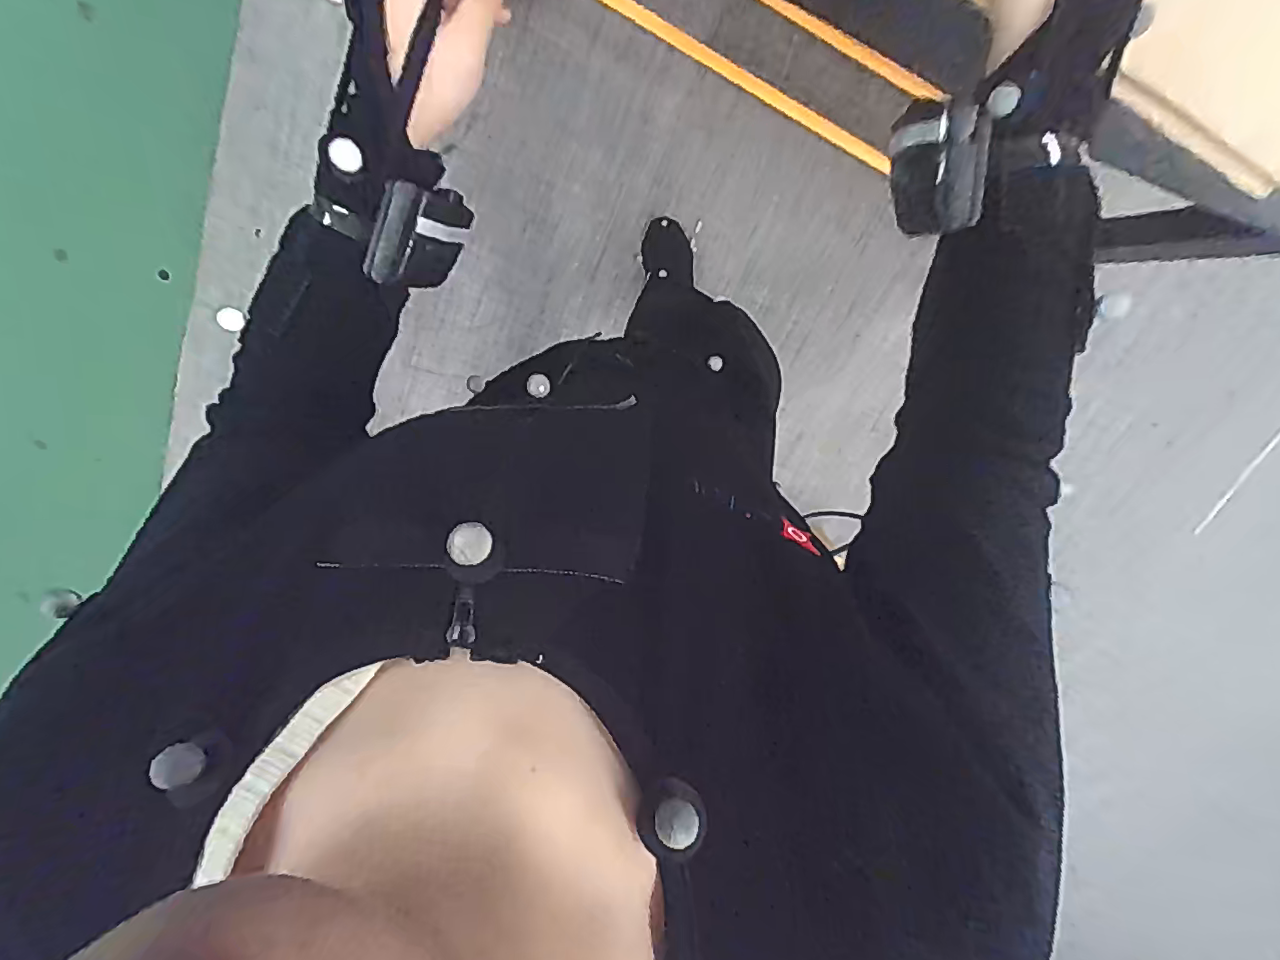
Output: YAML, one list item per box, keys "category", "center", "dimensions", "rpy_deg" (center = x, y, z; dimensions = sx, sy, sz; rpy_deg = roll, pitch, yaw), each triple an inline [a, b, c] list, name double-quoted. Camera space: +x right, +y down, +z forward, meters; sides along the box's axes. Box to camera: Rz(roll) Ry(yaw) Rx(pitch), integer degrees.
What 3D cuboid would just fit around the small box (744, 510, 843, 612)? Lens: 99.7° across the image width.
- category: "small box"
  center: [0.380, 0.199, 1.377]
  dimensions: [0.168, 0.176, 0.179]
  rpy_deg: [19, 108, -6]
